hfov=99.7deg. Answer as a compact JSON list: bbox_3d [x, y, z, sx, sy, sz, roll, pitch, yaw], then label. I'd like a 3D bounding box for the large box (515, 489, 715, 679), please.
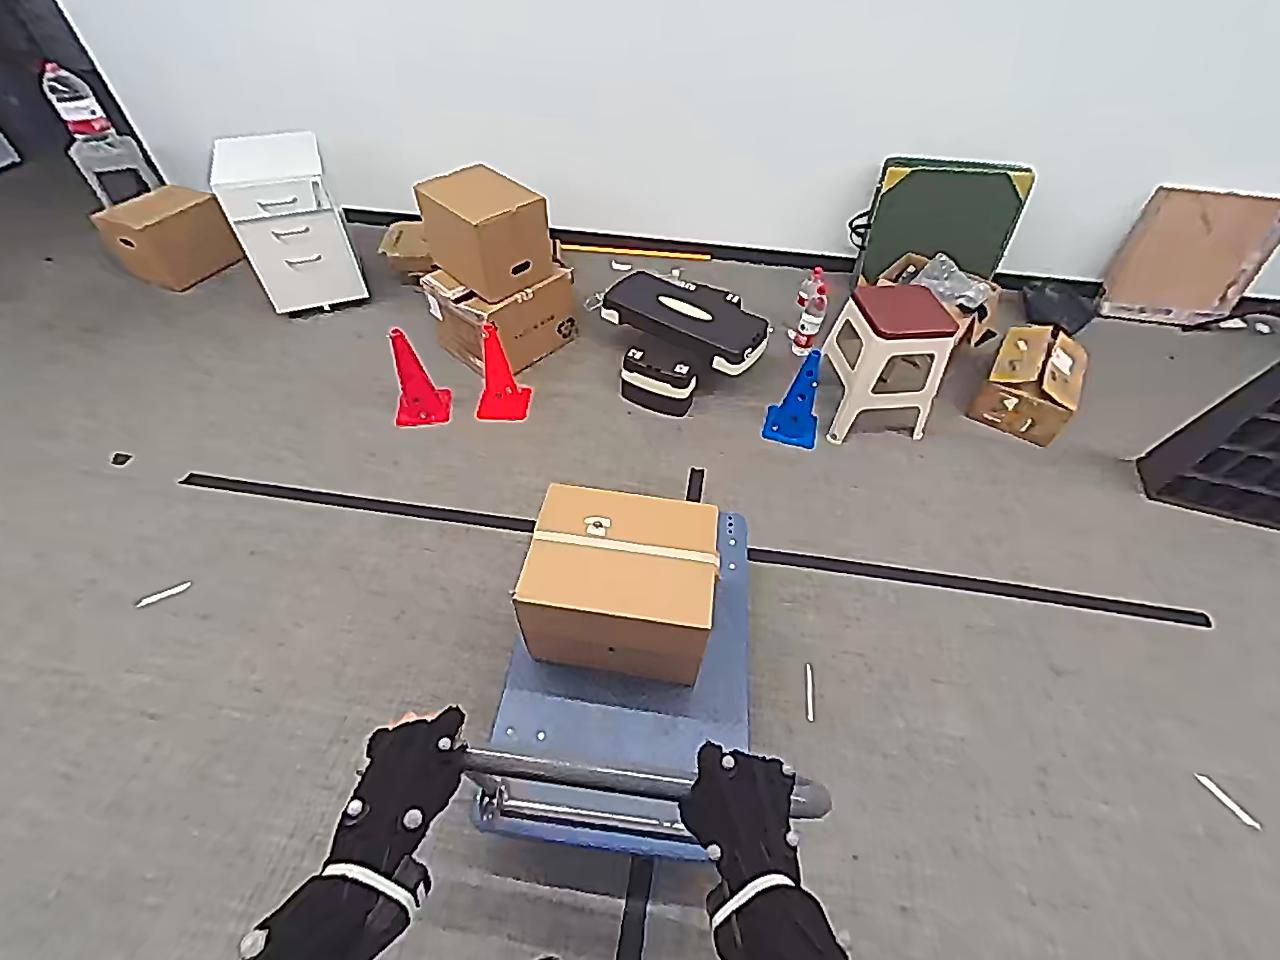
[{"bbox_3d":[-0.041,0.254,1.300,0.408,0.320,0.320,7,50,5],"label":"large box"}]
